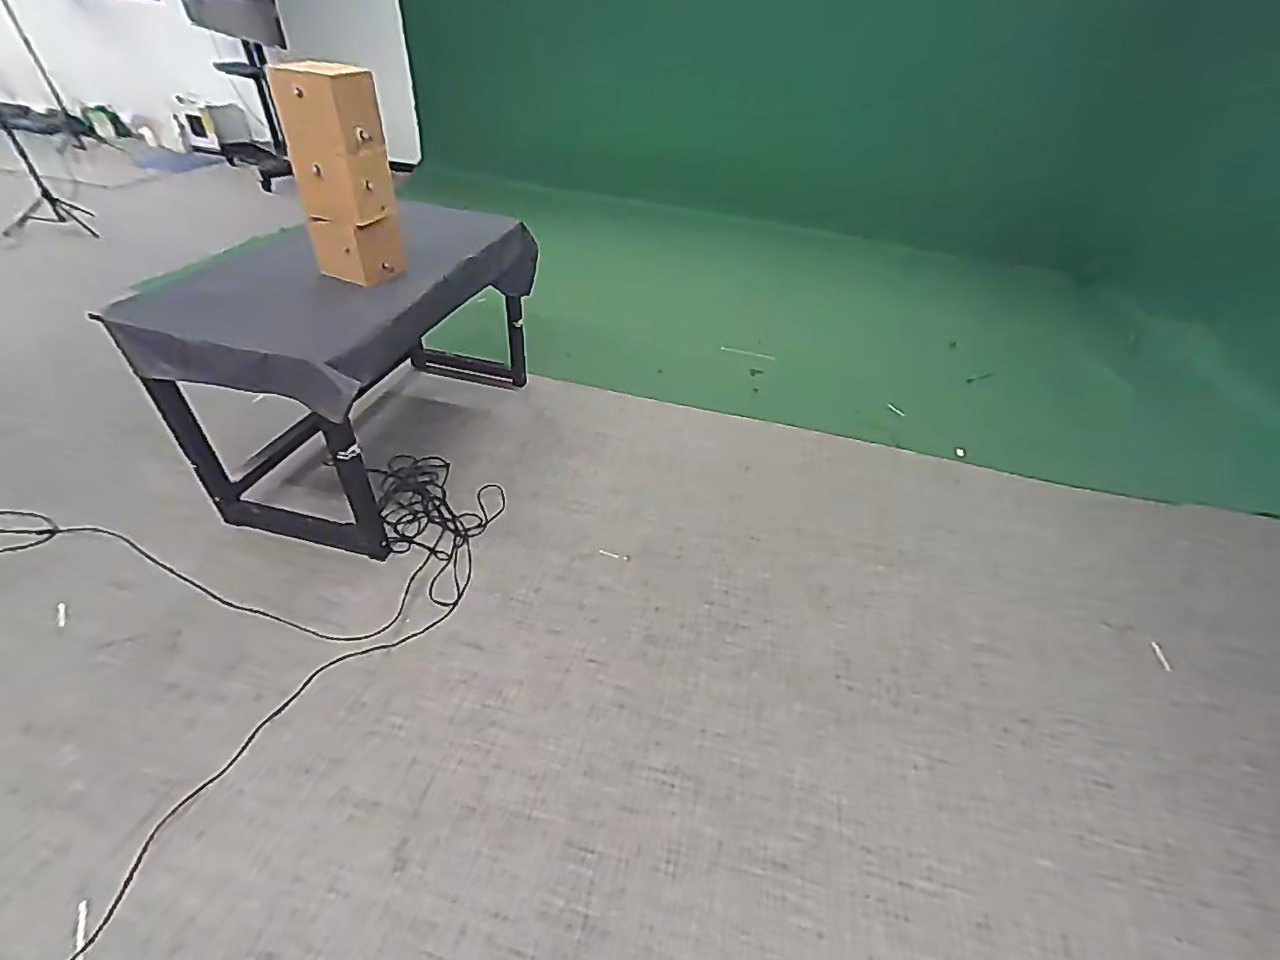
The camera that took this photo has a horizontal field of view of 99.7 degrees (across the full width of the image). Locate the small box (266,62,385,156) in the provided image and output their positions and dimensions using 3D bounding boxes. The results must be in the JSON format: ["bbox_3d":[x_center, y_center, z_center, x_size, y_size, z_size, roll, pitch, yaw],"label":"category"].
[{"bbox_3d":[-0.778,-0.932,1.360,0.179,0.176,0.168,13,43,7],"label":"small box"}]

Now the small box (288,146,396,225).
[{"bbox_3d":[-0.791,-0.805,1.461,0.179,0.176,0.168,14,42,9],"label":"small box"}]
